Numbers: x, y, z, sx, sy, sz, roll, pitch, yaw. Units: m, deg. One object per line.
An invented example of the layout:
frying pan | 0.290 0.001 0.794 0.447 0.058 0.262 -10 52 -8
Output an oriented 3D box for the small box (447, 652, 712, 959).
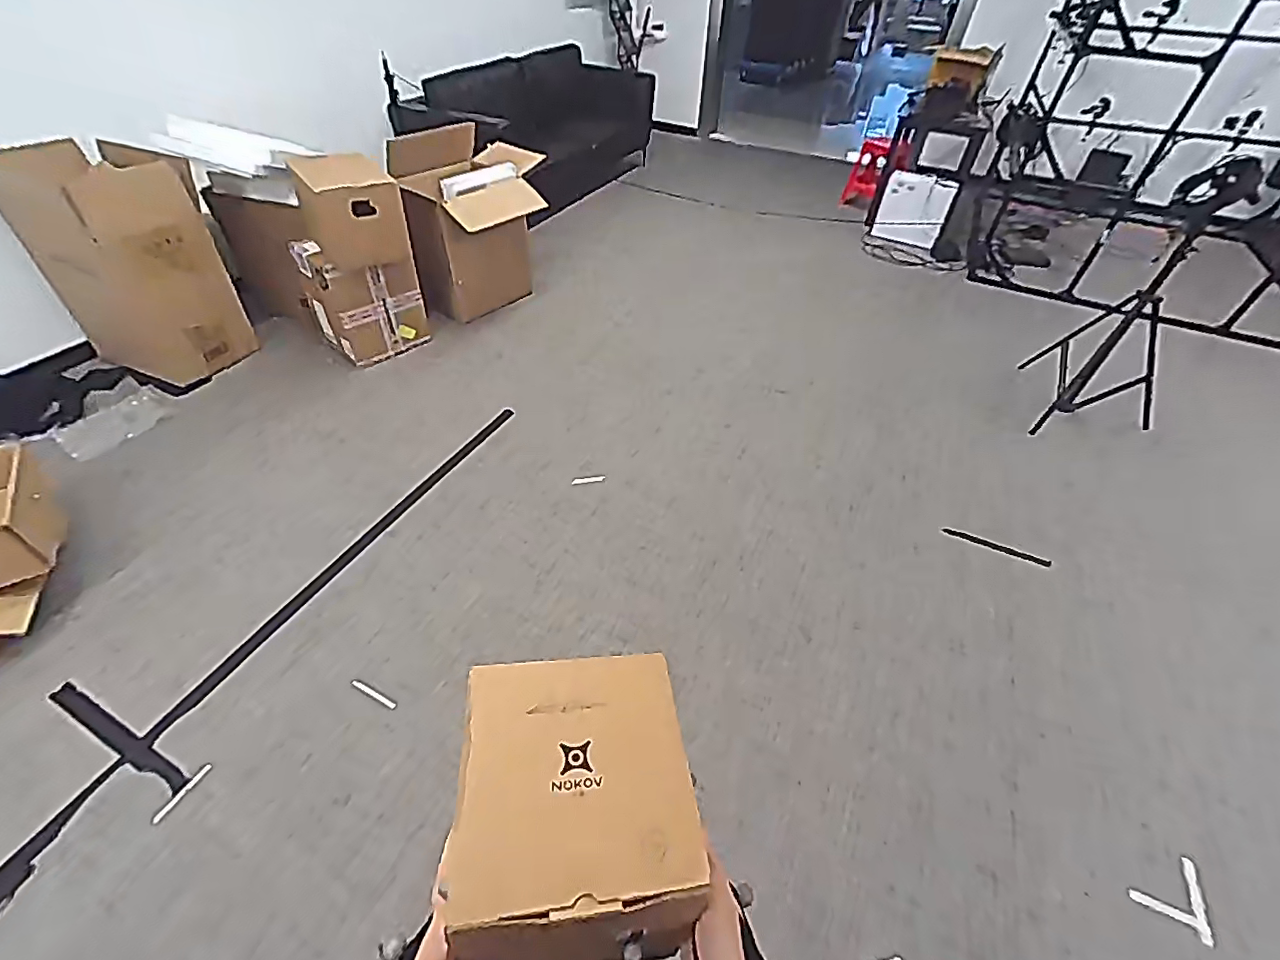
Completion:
small box | -0.054 0.268 0.439 0.168 0.176 0.179 0 37 -12
